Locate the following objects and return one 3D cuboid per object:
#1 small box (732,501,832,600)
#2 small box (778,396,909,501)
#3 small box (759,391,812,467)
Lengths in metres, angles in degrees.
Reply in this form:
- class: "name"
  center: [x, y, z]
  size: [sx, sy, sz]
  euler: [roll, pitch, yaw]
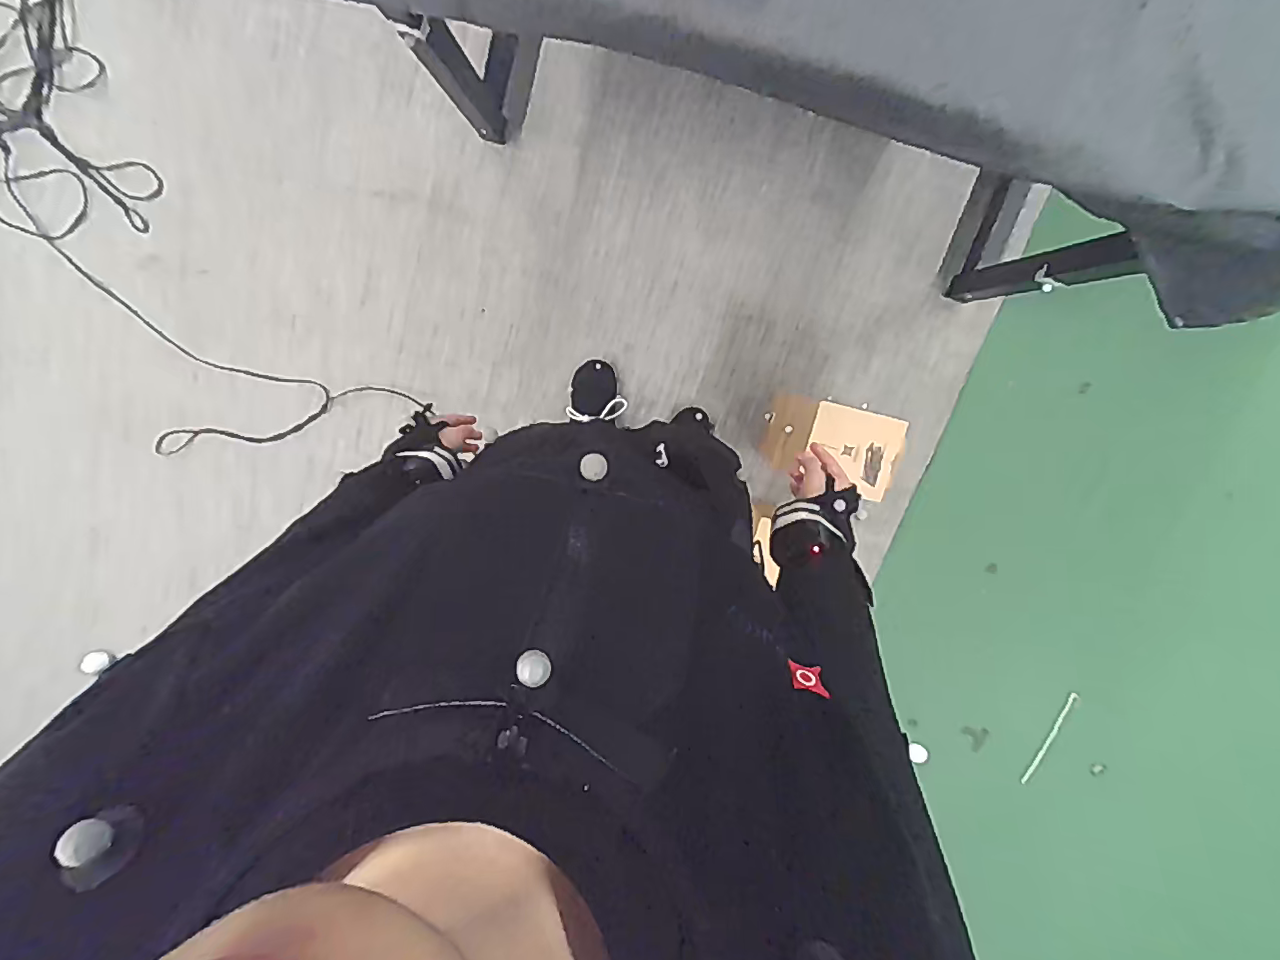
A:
- class: "small box"
  center: [0.337, 0.163, 1.325]
  size: [0.179, 0.176, 0.168]
  euler: [19, 104, -2]
- class: "small box"
  center: [0.402, -0.072, 1.101]
  size: [0.179, 0.176, 0.168]
  euler: [13, 102, -2]
- class: "small box"
  center: [0.396, -0.108, 1.260]
  size: [0.179, 0.176, 0.168]
  euler: [13, 102, -2]
